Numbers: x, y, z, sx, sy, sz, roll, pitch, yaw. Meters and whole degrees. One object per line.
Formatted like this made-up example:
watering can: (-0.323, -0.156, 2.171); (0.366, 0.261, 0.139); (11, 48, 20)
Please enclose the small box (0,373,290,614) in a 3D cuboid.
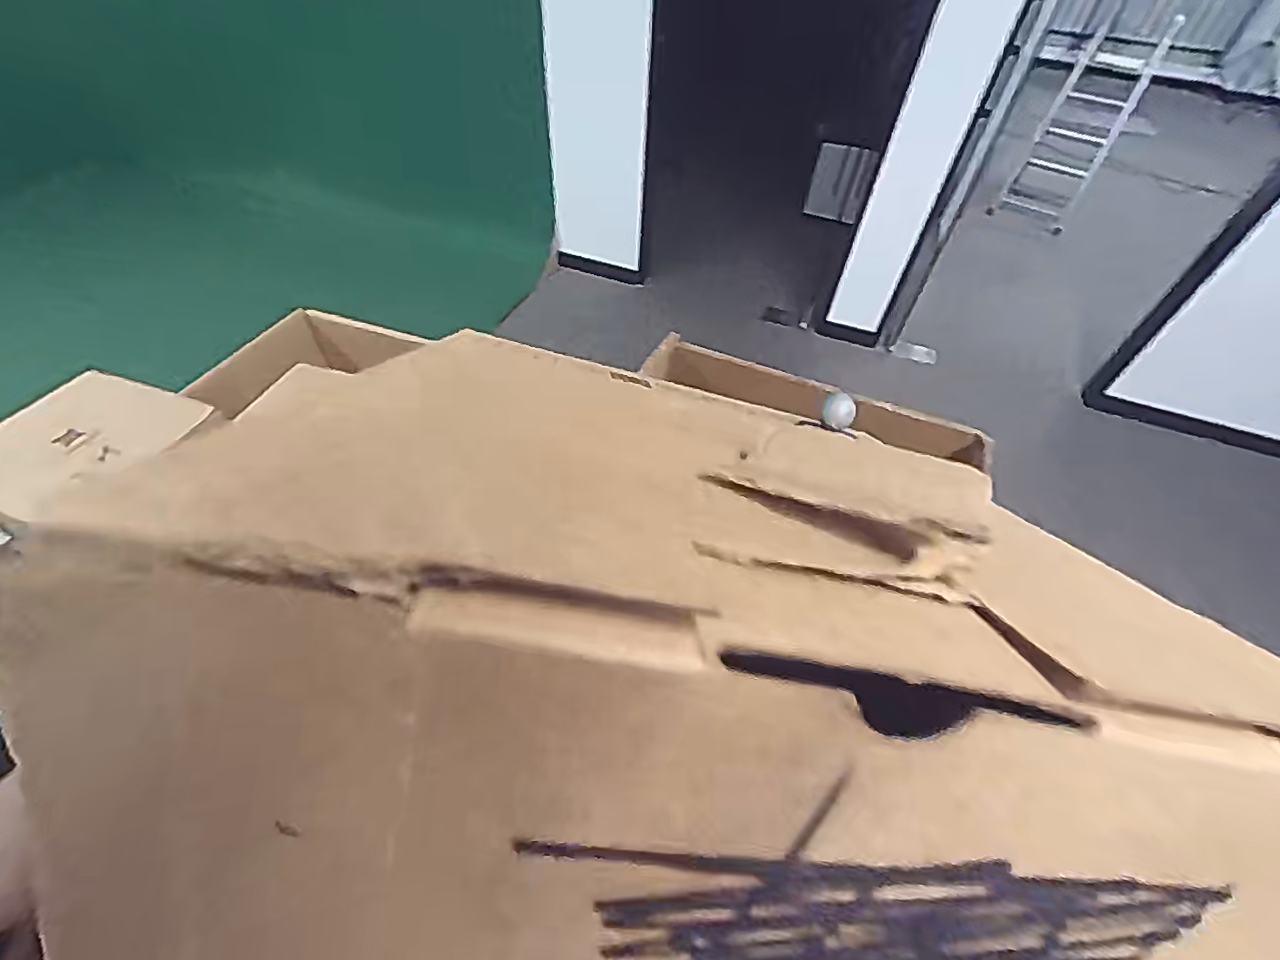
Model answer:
small box: (-0.530, 0.017, 0.572); (0.179, 0.176, 0.168); (17, 51, 11)
